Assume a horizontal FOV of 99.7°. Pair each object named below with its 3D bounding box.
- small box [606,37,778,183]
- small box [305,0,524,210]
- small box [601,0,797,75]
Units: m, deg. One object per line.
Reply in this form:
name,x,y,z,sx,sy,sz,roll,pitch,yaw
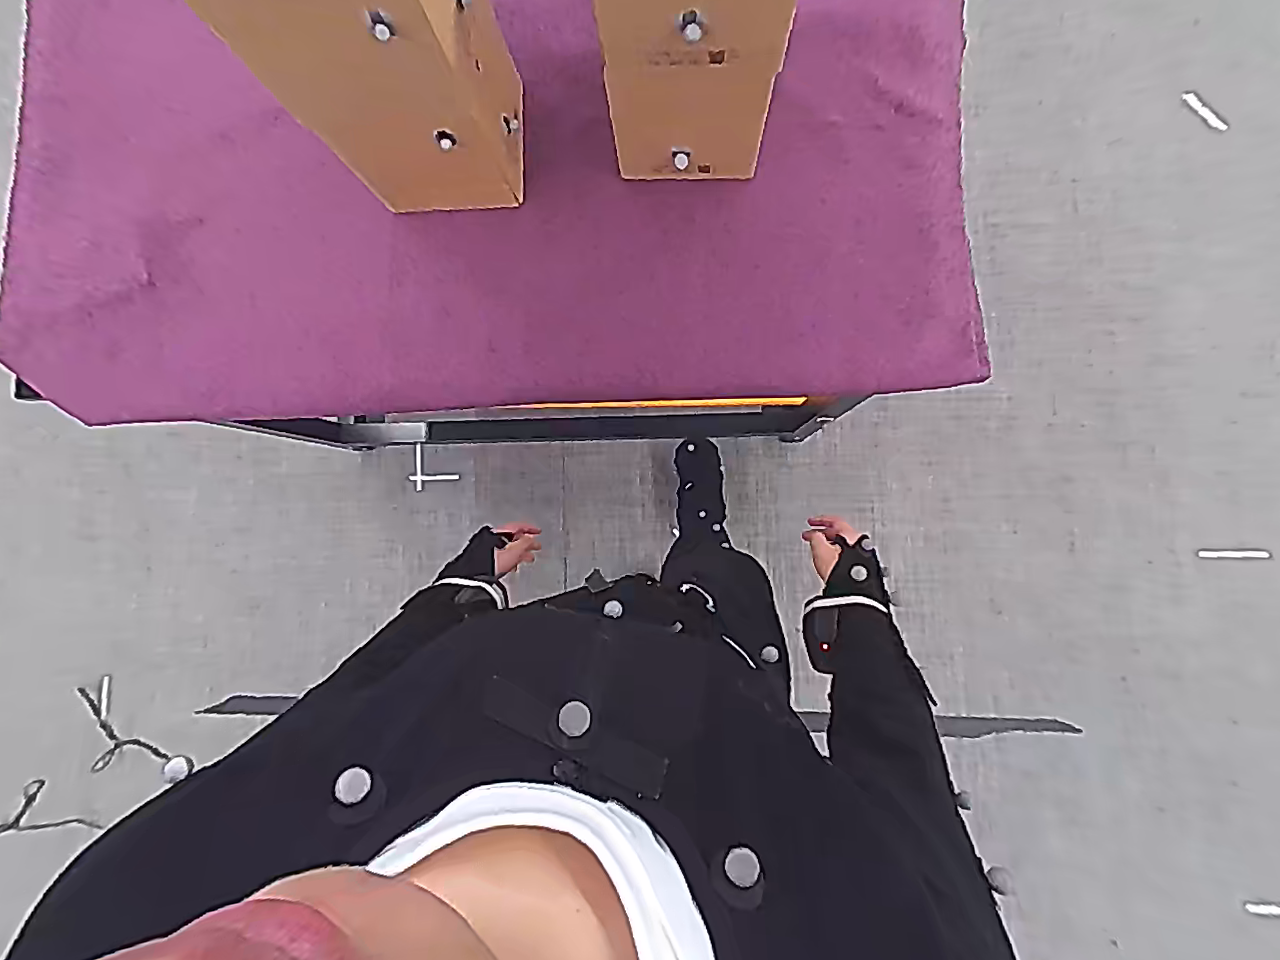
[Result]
small box,0.058,-0.463,0.597,0.168,0.176,0.179,3,87,4
small box,-0.243,-0.433,0.618,0.179,0.176,0.168,-1,86,3
small box,0.049,-0.473,0.432,0.168,0.176,0.179,2,87,5
